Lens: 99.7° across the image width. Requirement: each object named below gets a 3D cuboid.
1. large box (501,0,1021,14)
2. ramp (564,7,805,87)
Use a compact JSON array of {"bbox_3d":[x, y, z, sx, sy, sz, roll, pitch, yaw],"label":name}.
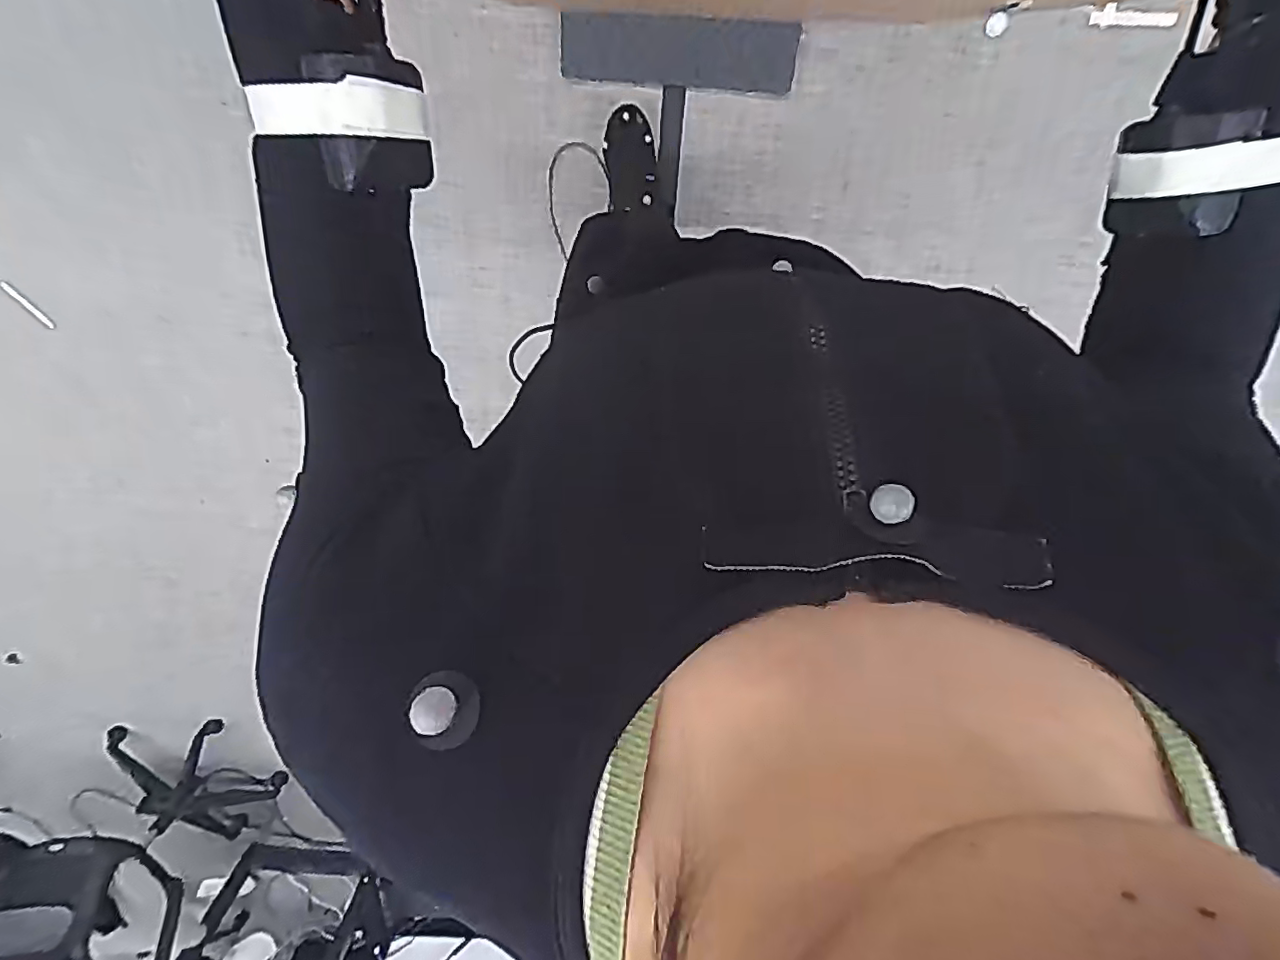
[{"bbox_3d":[0.078,-0.465,0.296,0.408,0.320,0.320,1,127,-2],"label":"large box"},{"bbox_3d":[0.113,-1.259,0.867,0.509,0.206,0.991,2,116,-1],"label":"ramp"}]
